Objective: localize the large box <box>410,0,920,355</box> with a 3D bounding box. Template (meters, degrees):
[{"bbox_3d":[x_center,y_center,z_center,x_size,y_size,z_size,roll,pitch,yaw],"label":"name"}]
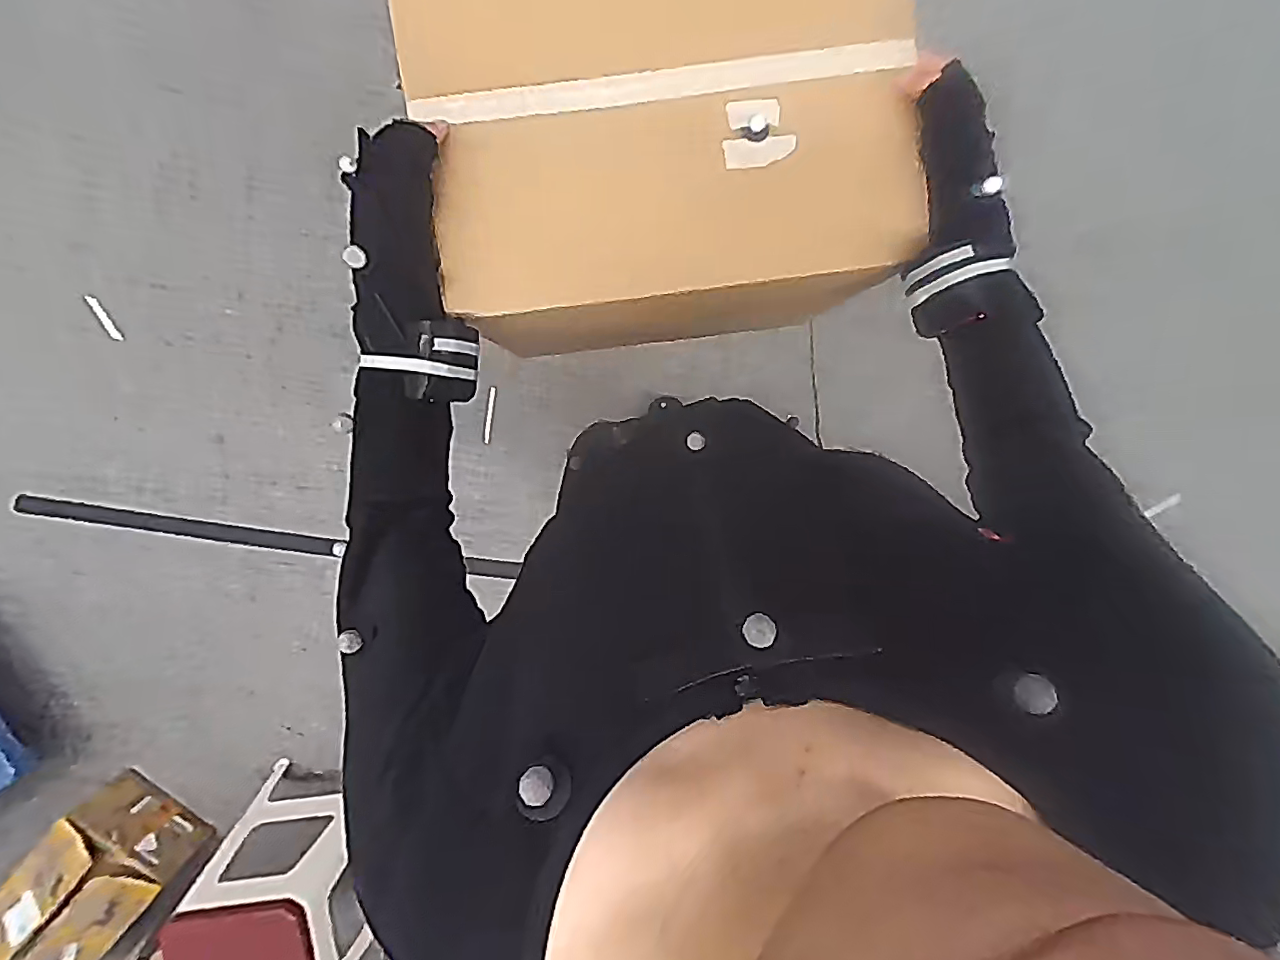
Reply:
[{"bbox_3d":[0.018,-0.334,0.590,0.408,0.320,0.320,-7,97,-2],"label":"large box"}]
